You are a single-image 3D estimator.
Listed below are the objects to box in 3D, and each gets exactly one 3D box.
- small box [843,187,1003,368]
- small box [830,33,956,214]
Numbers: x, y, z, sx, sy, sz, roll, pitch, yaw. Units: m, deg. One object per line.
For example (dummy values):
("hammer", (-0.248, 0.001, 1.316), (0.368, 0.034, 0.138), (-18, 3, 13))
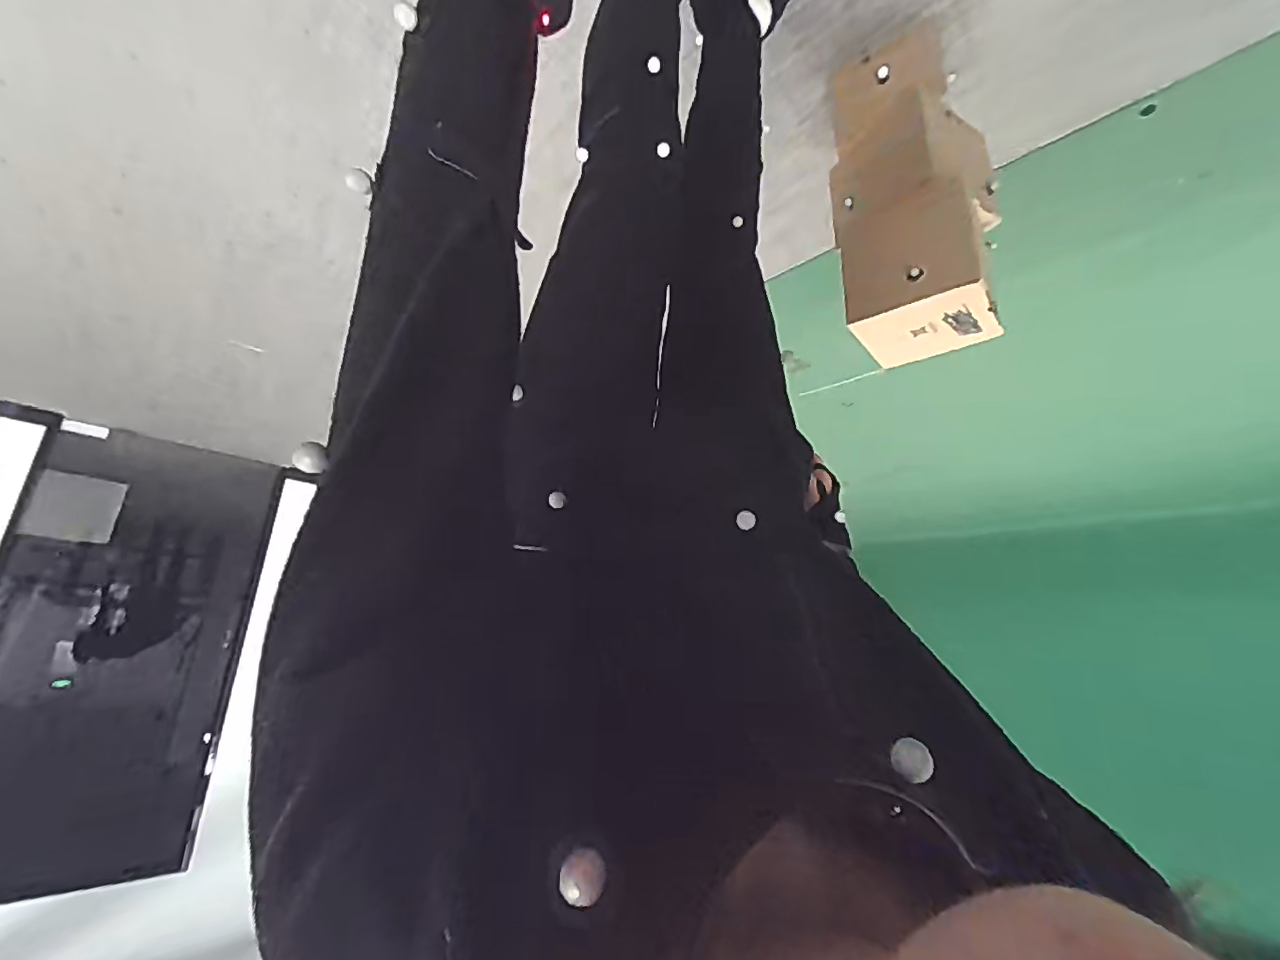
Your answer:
("small box", (0.424, -0.298, 0.820), (0.179, 0.176, 0.168), (-11, 158, 40))
("small box", (0.433, -0.610, 0.927), (0.168, 0.176, 0.179), (-9, 158, 32))
